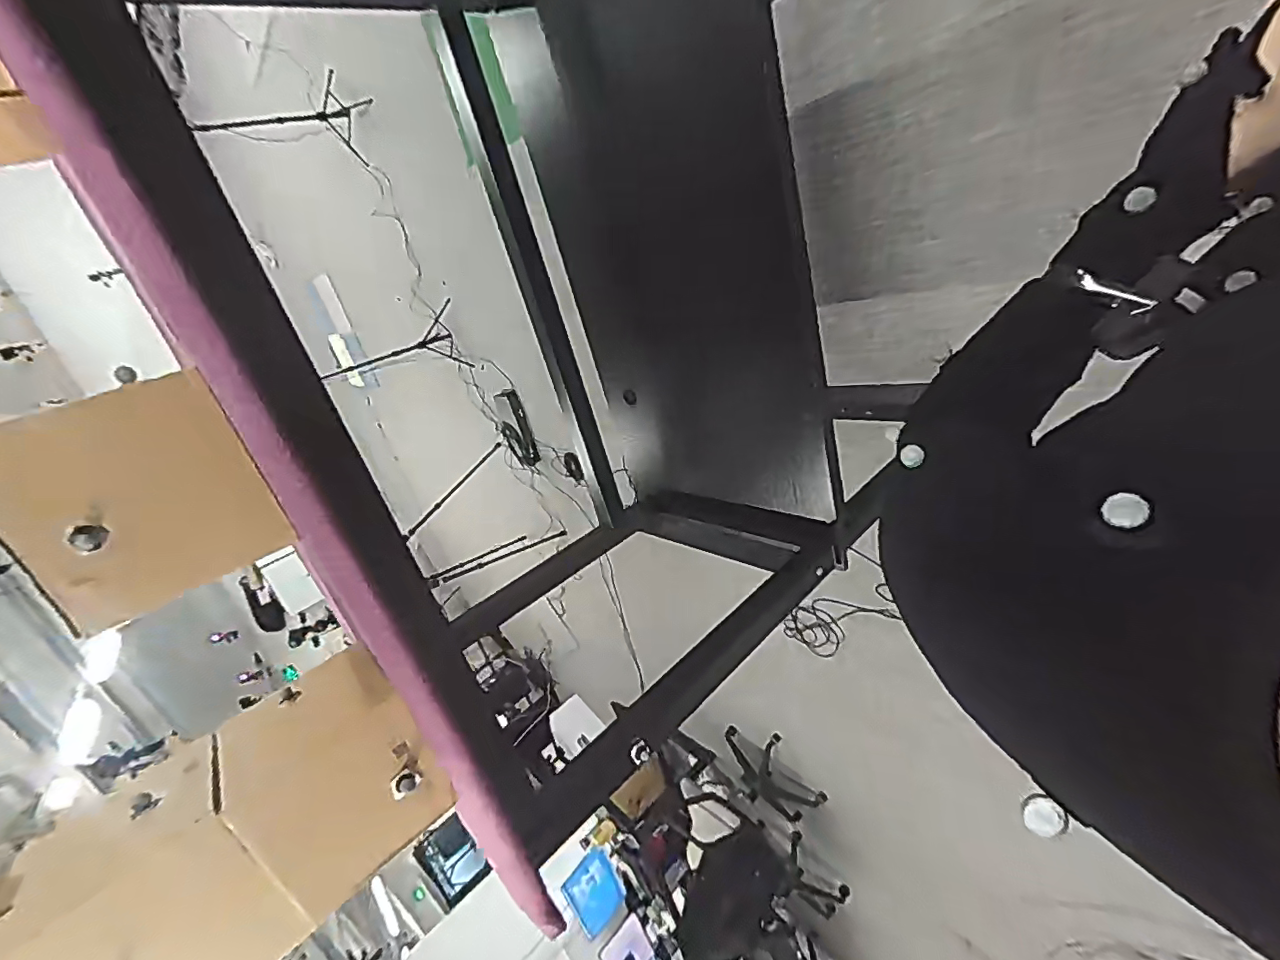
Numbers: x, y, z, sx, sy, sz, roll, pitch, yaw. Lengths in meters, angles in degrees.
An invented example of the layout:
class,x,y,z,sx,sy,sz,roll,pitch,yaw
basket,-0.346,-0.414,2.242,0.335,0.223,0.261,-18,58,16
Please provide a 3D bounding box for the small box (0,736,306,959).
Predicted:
class,x,y,z,sx,sy,sz,roll,pitch,yaw
small box,-0.455,0.396,0.523,0.168,0.176,0.179,5,121,51

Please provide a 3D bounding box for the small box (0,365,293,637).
class,x,y,z,sx,sy,sz,roll,pitch,yaw
small box,-0.456,0.004,0.504,0.168,0.176,0.179,13,126,50

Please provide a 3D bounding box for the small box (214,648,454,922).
class,x,y,z,sx,sy,sz,roll,pitch,yaw
small box,-0.337,0.318,0.607,0.179,0.176,0.168,5,121,51
